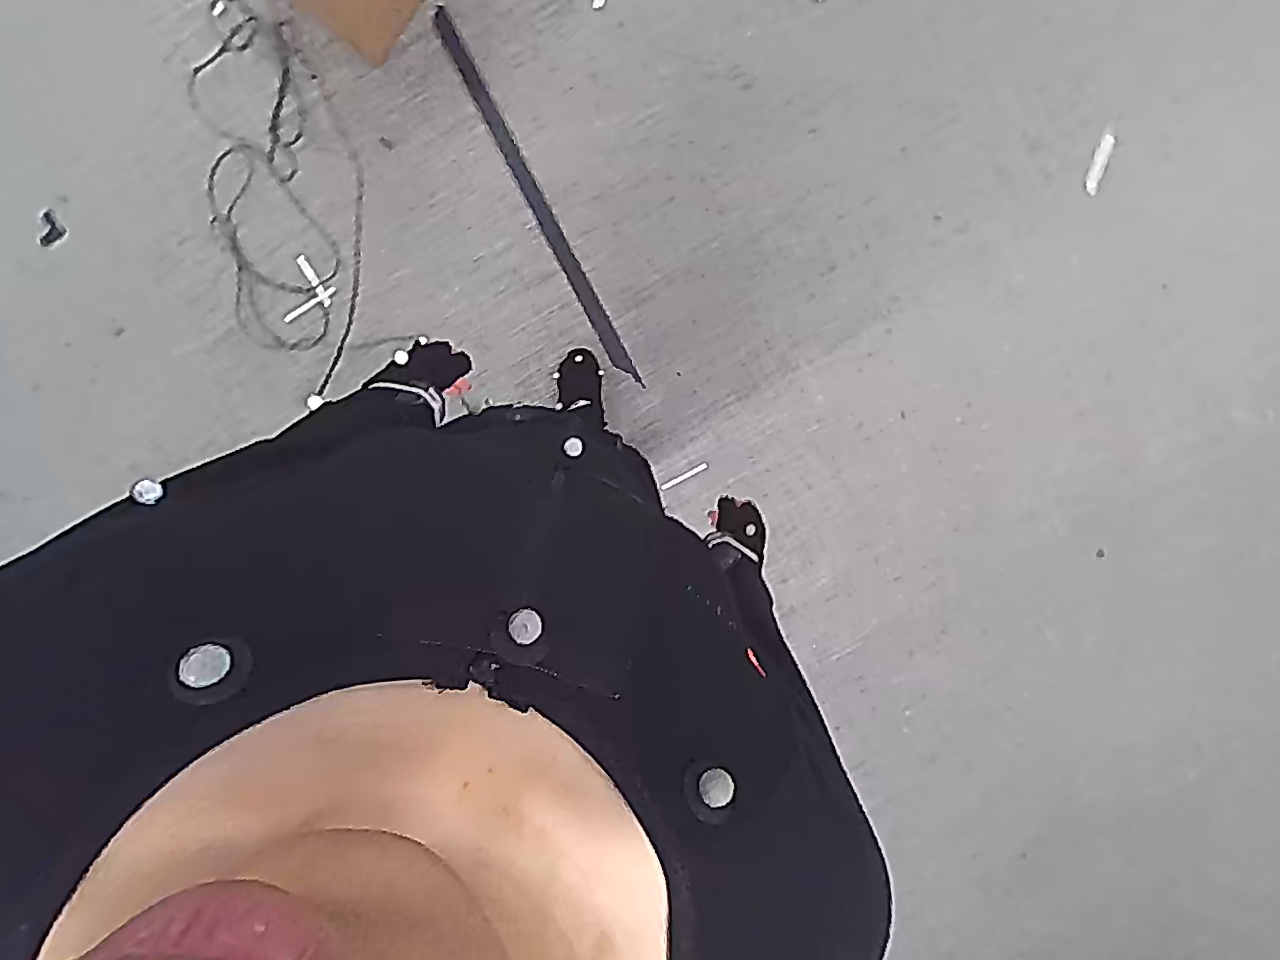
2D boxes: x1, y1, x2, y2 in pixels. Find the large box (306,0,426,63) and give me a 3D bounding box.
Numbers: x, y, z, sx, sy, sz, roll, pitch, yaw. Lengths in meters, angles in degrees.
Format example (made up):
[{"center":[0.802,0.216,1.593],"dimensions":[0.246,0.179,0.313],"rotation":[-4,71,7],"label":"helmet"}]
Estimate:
[{"center":[-0.625,-1.247,1.151],"dimensions":[0.320,0.320,0.408],"rotation":[37,97,-6],"label":"large box"}]
